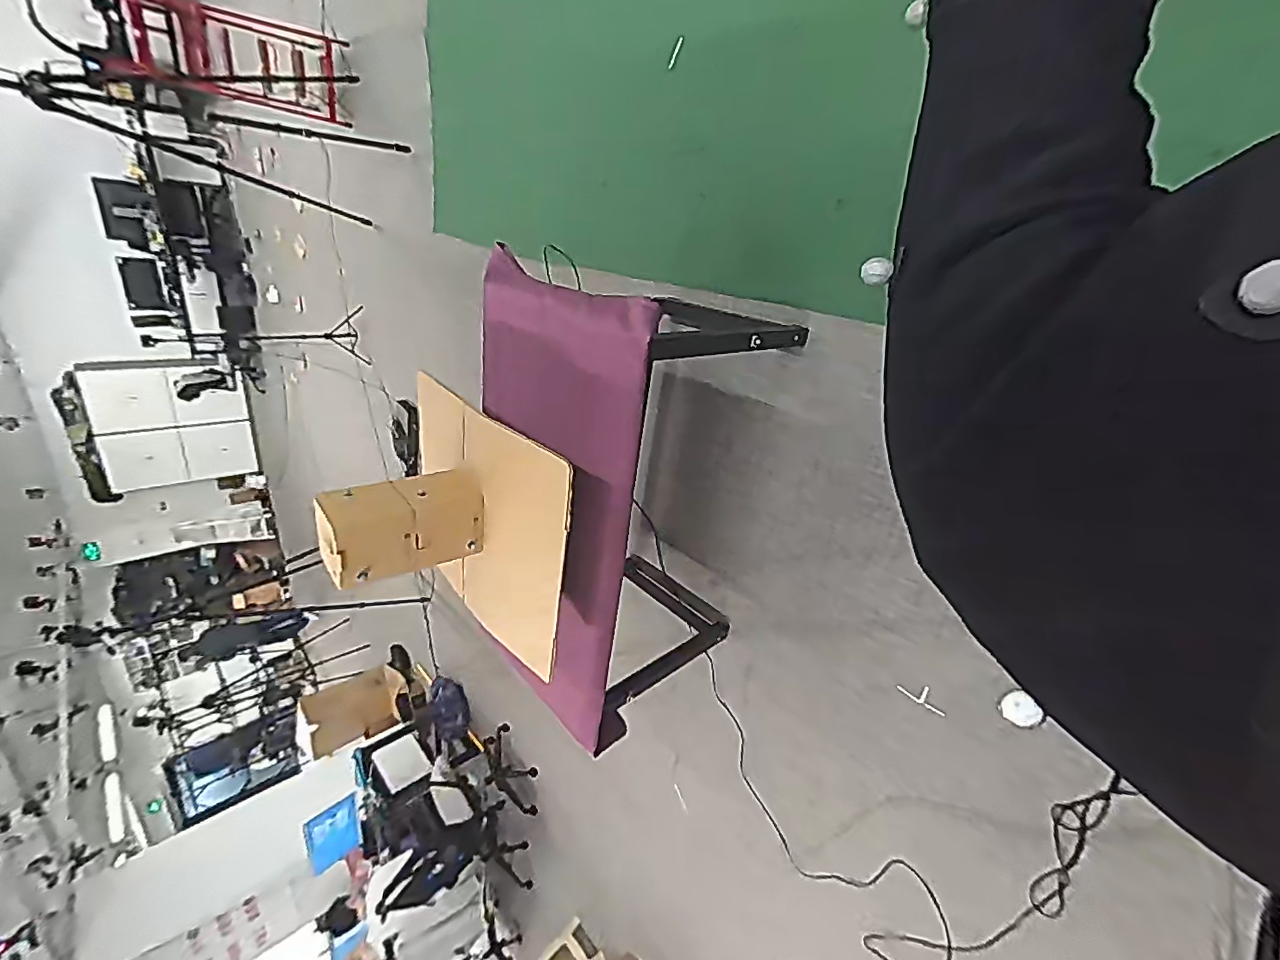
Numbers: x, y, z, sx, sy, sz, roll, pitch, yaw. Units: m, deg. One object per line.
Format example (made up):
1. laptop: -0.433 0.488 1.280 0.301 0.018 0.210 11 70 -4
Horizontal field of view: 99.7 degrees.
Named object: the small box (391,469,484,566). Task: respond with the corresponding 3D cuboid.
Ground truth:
1. small box: -0.506 0.086 1.361 0.179 0.176 0.168 33 124 40
